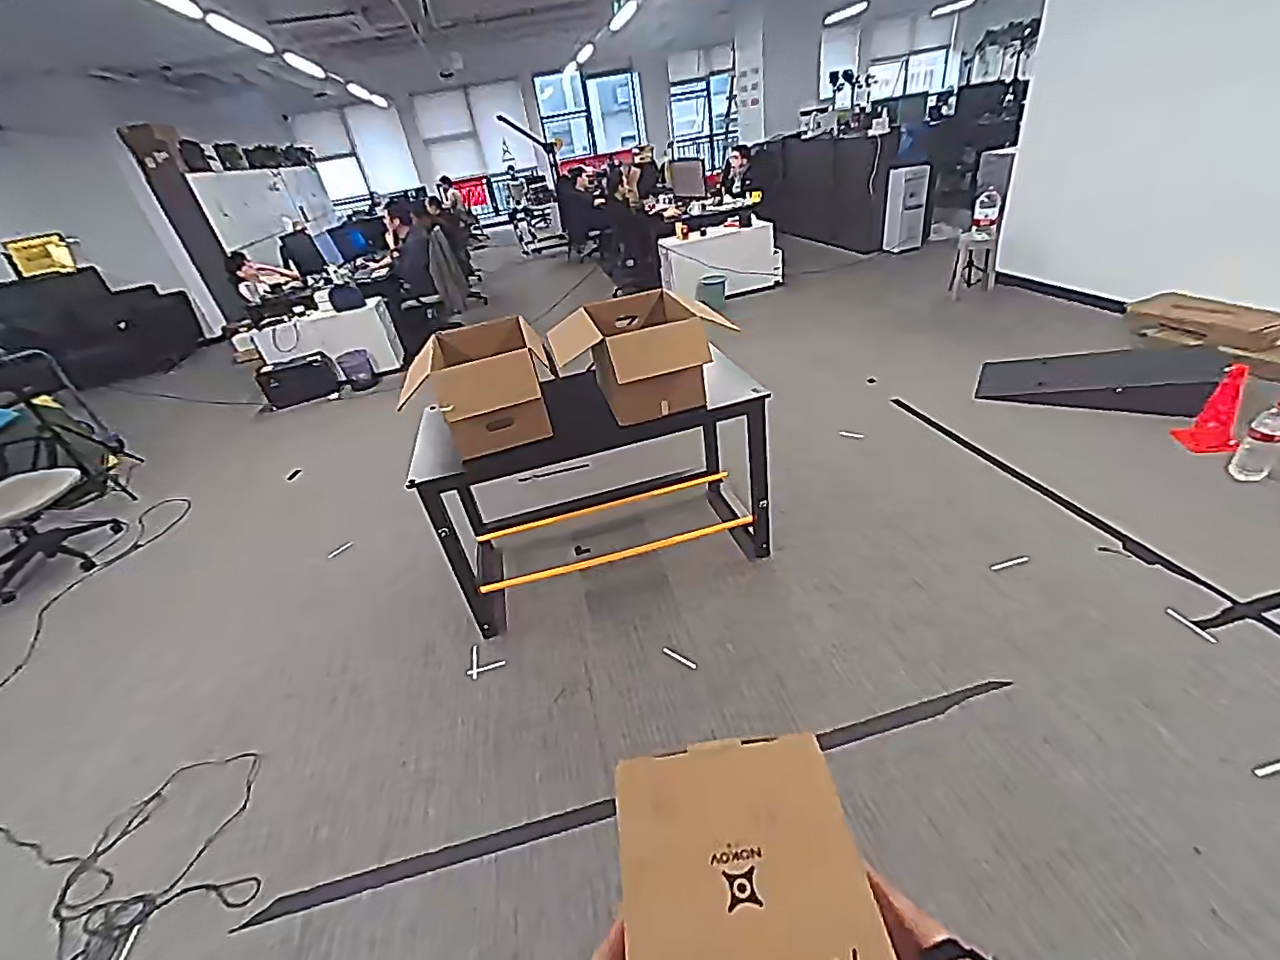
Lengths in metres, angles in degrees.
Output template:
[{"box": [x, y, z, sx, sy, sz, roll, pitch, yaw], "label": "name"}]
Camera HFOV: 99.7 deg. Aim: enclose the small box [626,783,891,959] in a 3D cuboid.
[{"box": [0.083, 0.362, 0.402, 0.168, 0.176, 0.179, -8, 38, -1], "label": "small box"}]
